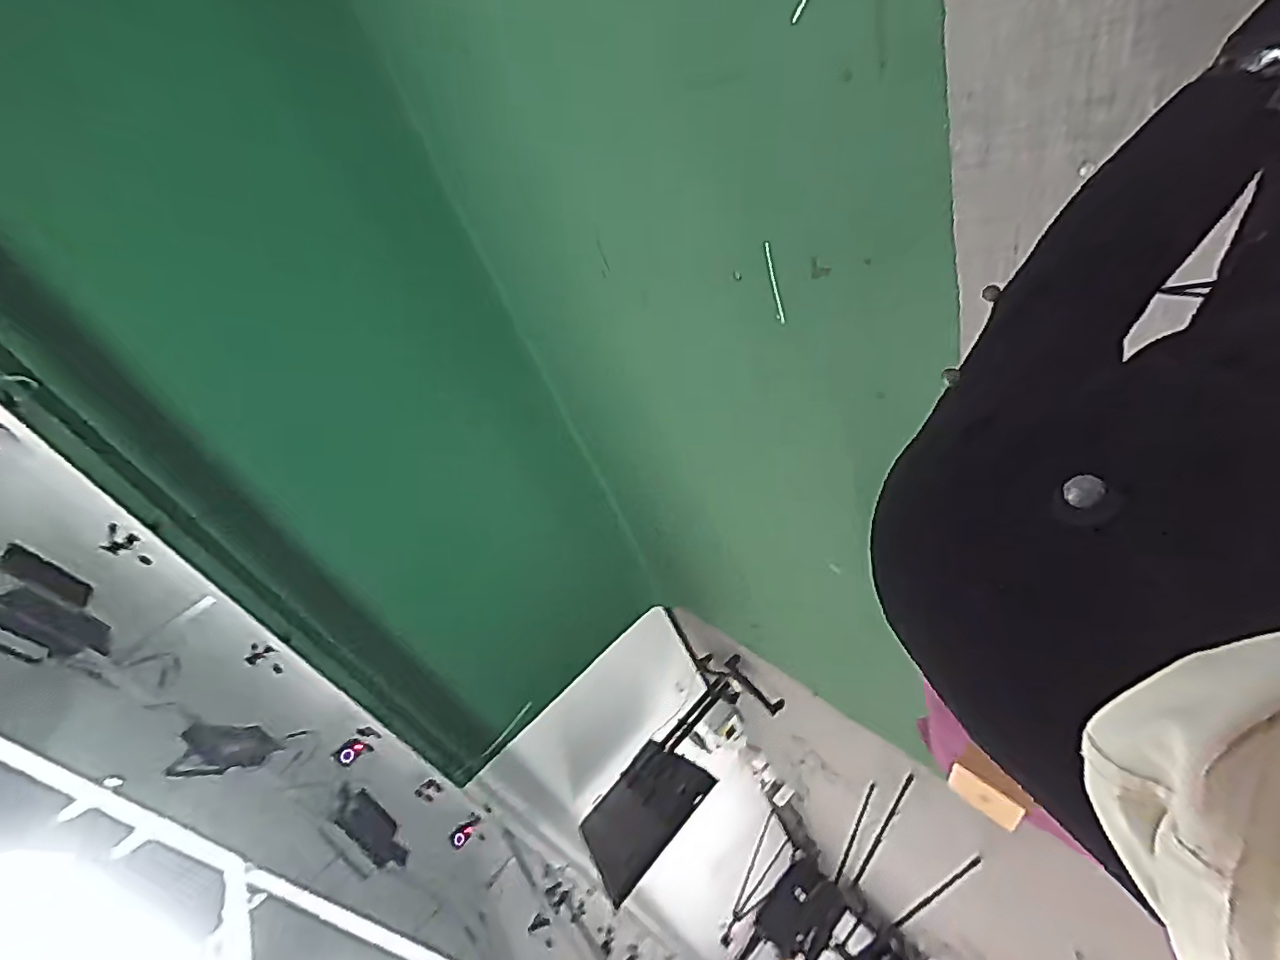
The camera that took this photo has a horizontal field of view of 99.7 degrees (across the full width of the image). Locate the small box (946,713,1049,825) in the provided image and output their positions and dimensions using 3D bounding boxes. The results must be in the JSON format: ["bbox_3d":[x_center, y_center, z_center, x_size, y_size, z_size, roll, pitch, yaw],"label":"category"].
[{"bbox_3d":[0.940,0.755,1.423,0.168,0.176,0.179,30,151,41],"label":"small box"}]

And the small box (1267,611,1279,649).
[{"bbox_3d":[1.668,0.329,1.290,0.179,0.176,0.168,22,146,49],"label":"small box"}]
